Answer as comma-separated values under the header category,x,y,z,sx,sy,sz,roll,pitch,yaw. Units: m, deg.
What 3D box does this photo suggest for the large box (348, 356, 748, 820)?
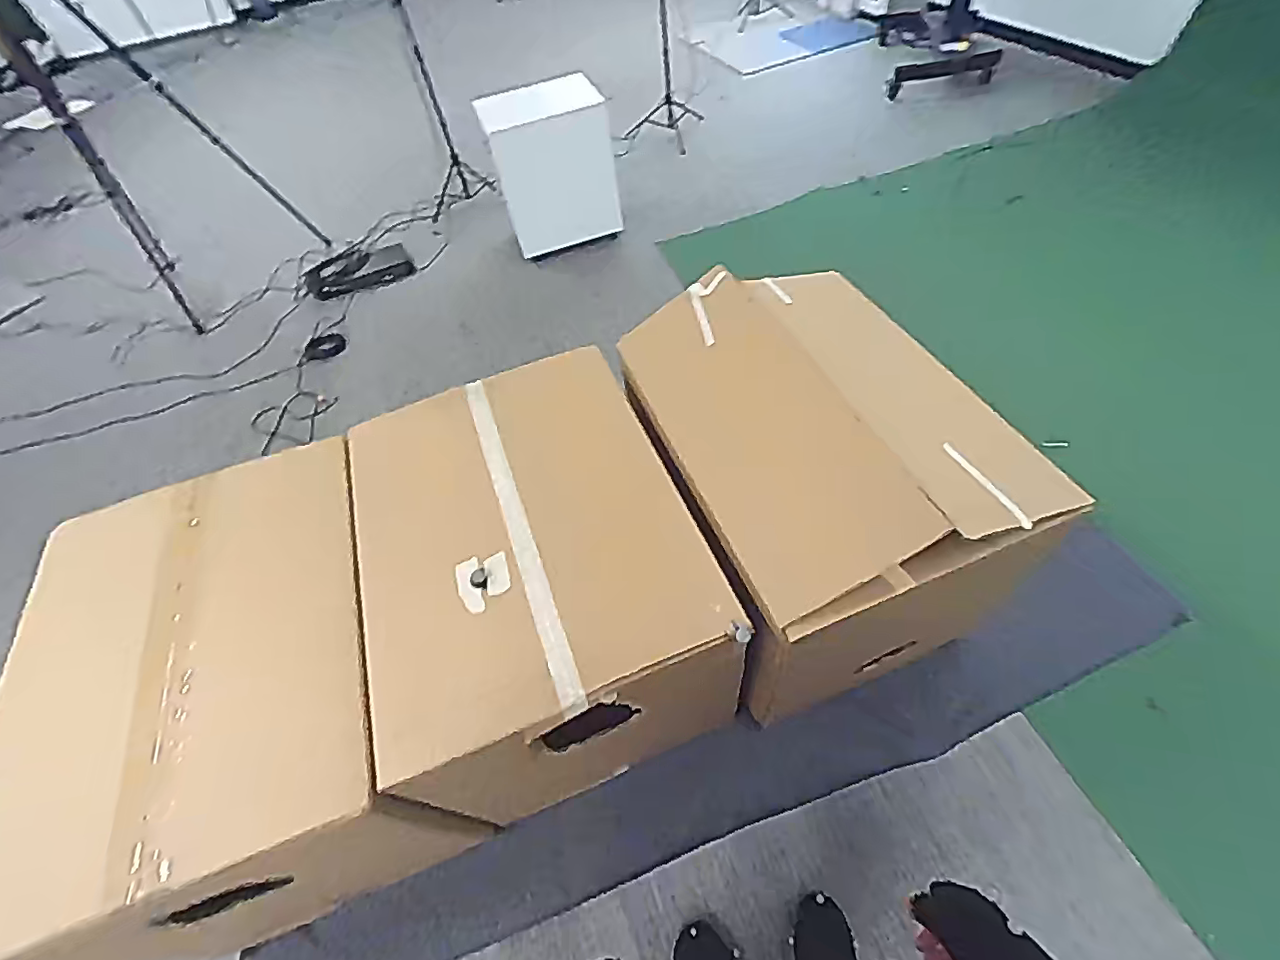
category,x,y,z,sx,sy,sz,roll,pitch,yaw
large box,-0.111,0.124,0.660,0.320,0.320,0.408,-22,54,-8
